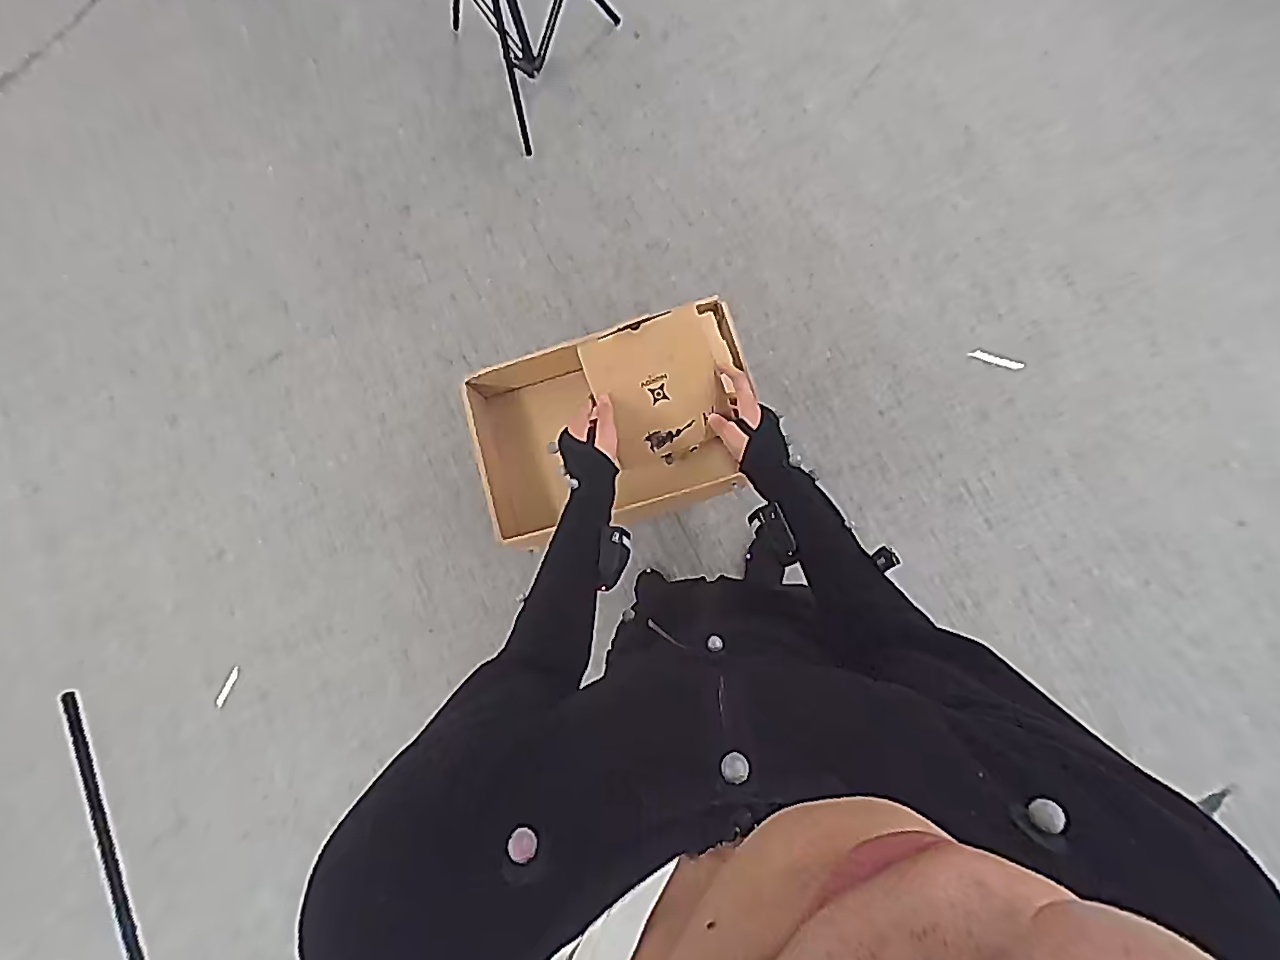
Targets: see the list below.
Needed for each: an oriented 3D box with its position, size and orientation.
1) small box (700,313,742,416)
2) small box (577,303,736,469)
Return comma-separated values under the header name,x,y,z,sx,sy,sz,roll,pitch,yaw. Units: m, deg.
name,x,y,z,sx,sy,sz,roll,pitch,yaw
small box,0.083,-0.184,1.033,0.179,0.176,0.168,-20,80,3
small box,0.025,-0.124,0.774,0.168,0.176,0.179,-19,93,5
